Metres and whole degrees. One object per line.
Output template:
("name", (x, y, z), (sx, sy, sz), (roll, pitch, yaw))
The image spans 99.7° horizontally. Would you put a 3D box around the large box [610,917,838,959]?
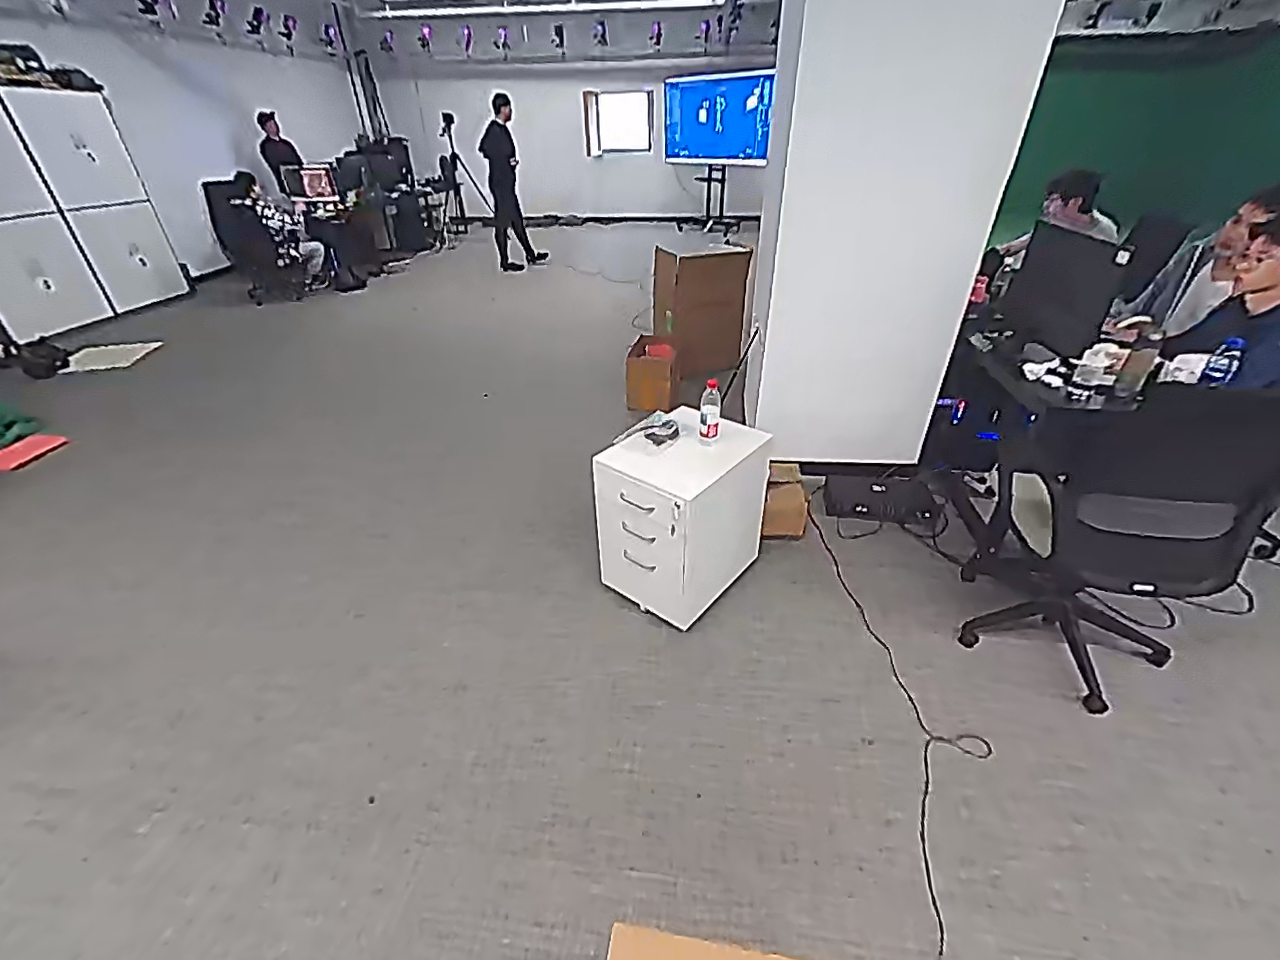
("large box", (0.130, 1.032, 0.932), (0.408, 0.320, 0.320), (5, 34, 9))
